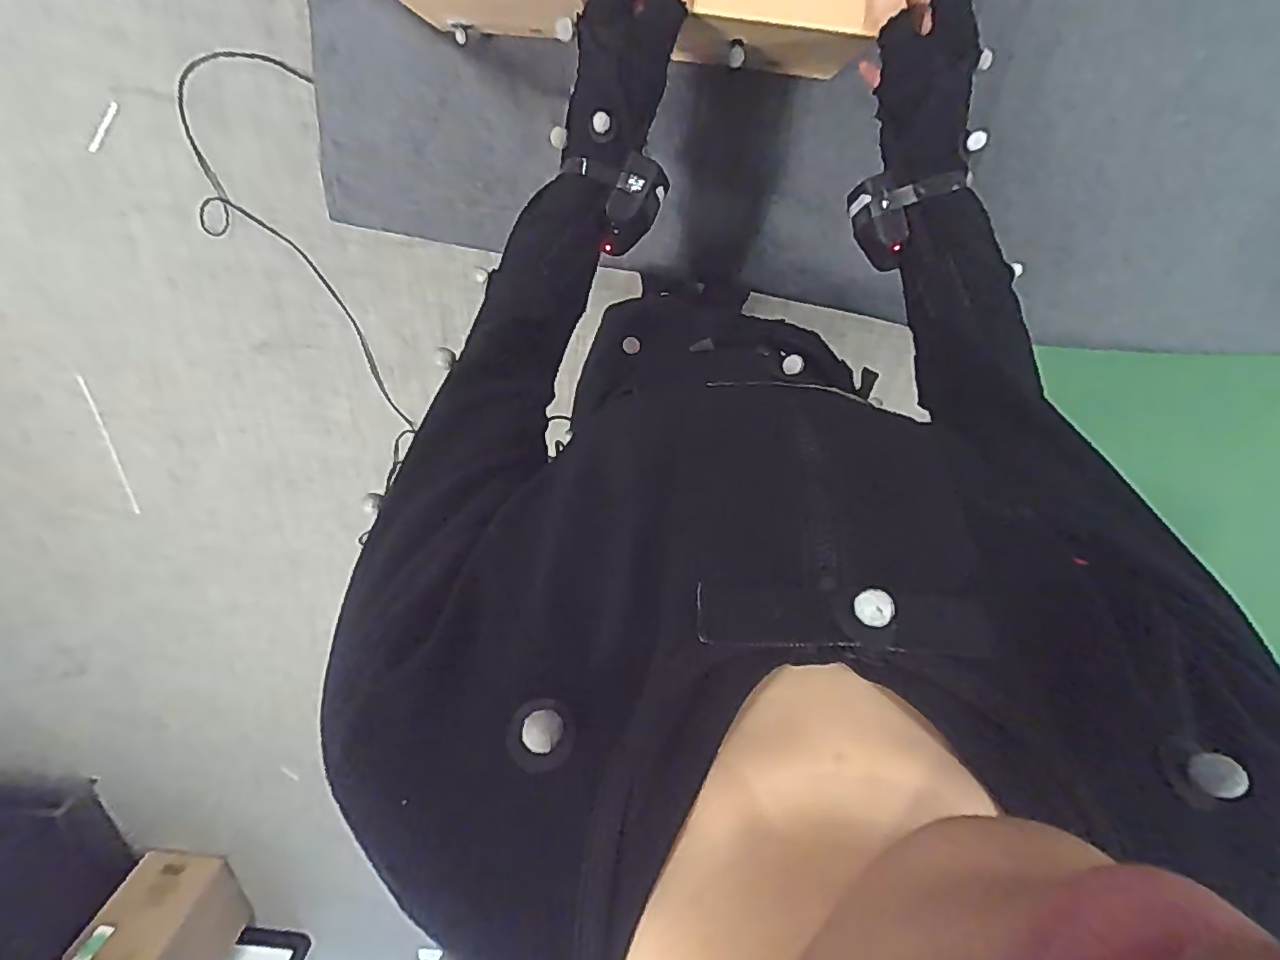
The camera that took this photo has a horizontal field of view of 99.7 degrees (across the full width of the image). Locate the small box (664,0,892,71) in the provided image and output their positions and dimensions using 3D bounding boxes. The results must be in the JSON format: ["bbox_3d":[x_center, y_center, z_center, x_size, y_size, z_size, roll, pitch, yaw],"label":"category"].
[{"bbox_3d":[0.115,-0.448,0.424,0.168,0.176,0.179,7,117,1],"label":"small box"}]

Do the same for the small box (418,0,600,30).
[{"bbox_3d":[-0.120,-0.483,0.421,0.168,0.176,0.179,5,116,2],"label":"small box"}]
